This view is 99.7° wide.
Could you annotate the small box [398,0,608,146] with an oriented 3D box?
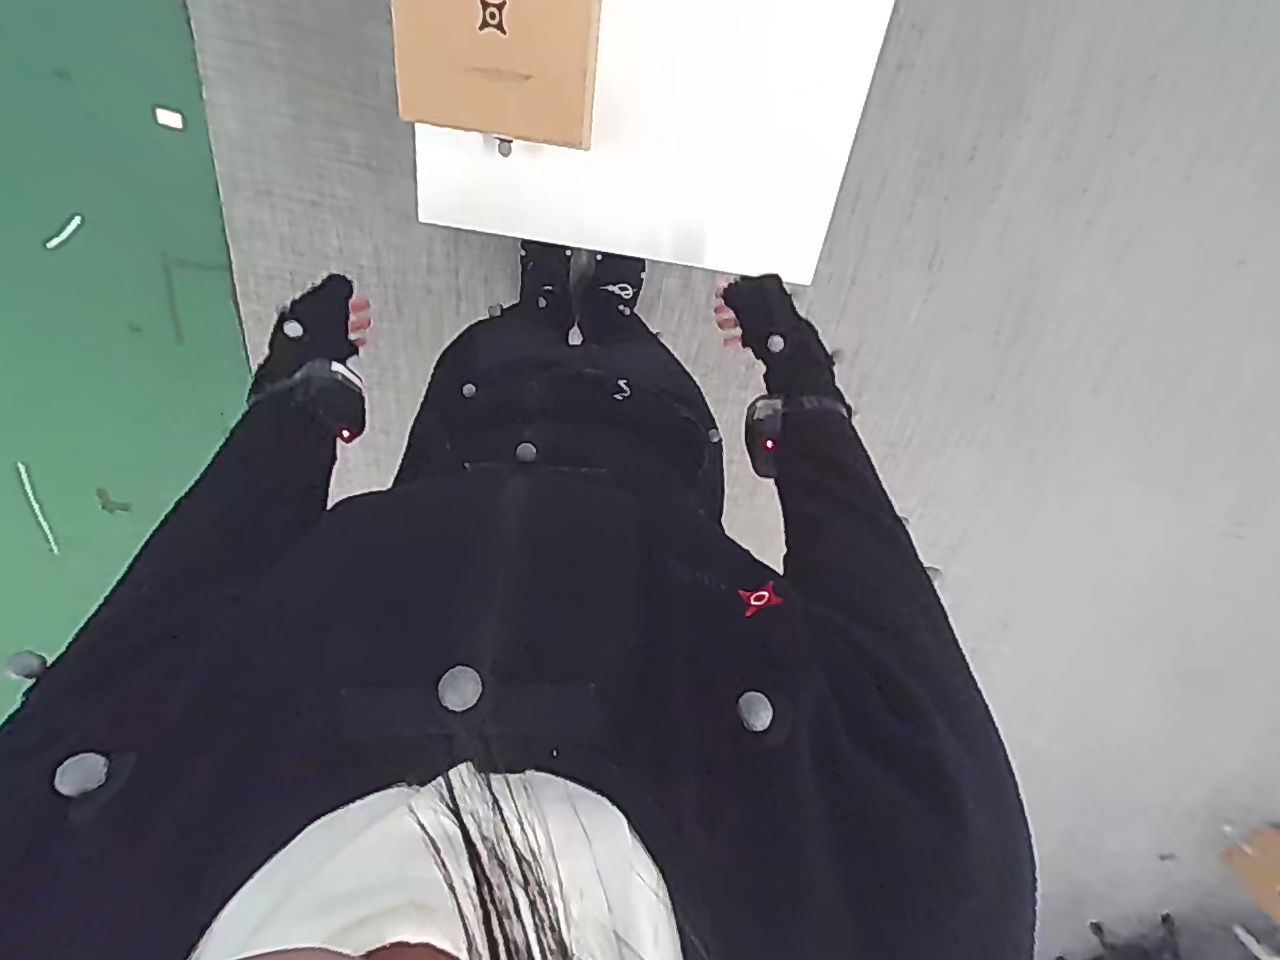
[{"bbox_3d":[-0.120,-0.433,0.518,0.168,0.176,0.179,5,121,-4],"label":"small box"}]
